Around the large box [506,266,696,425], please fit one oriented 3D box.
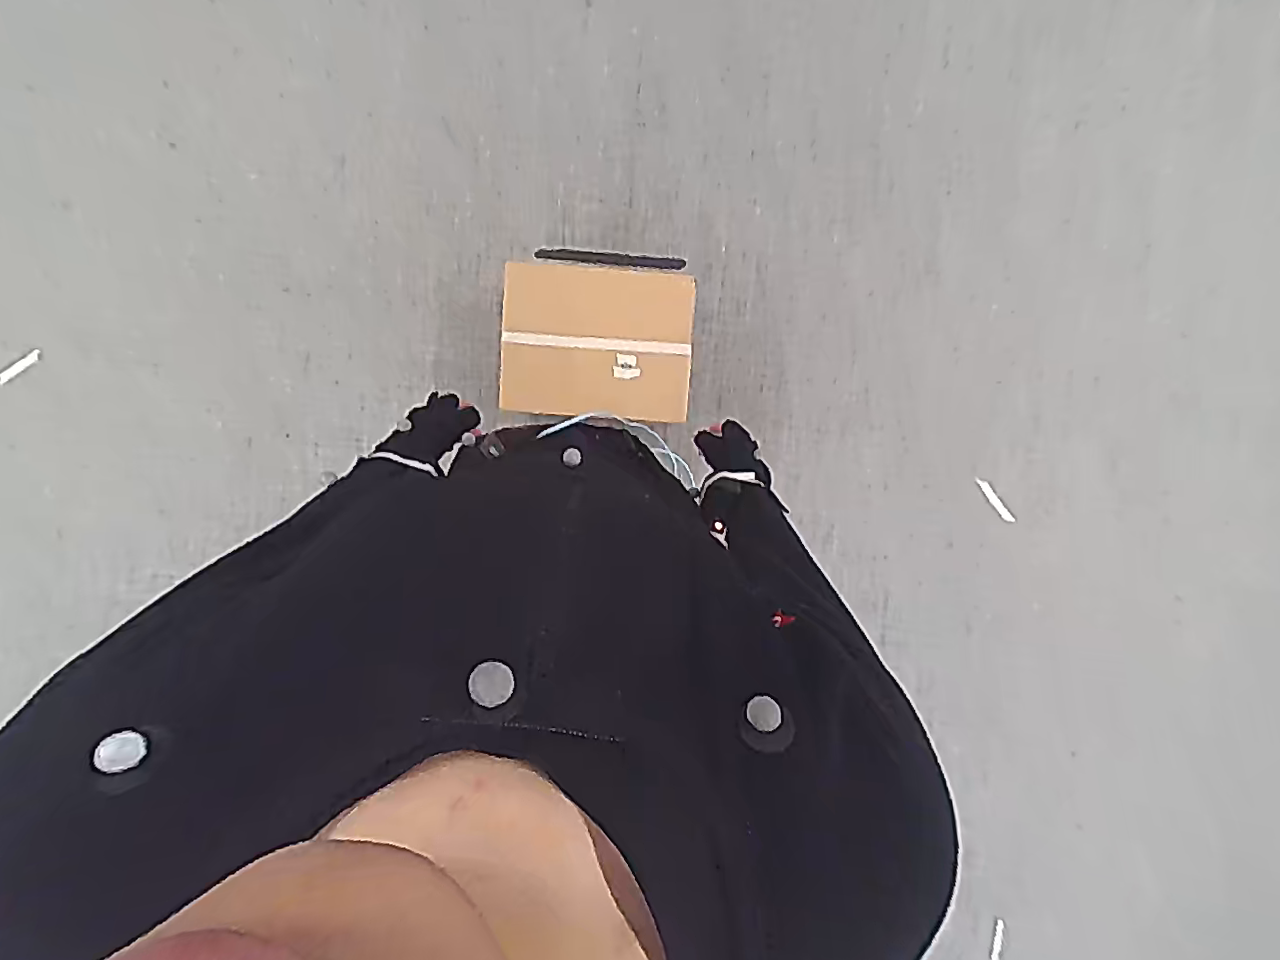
[{"bbox_3d":[-0.093,-0.301,1.311,0.408,0.320,0.320,4,95,-3],"label":"large box"}]
